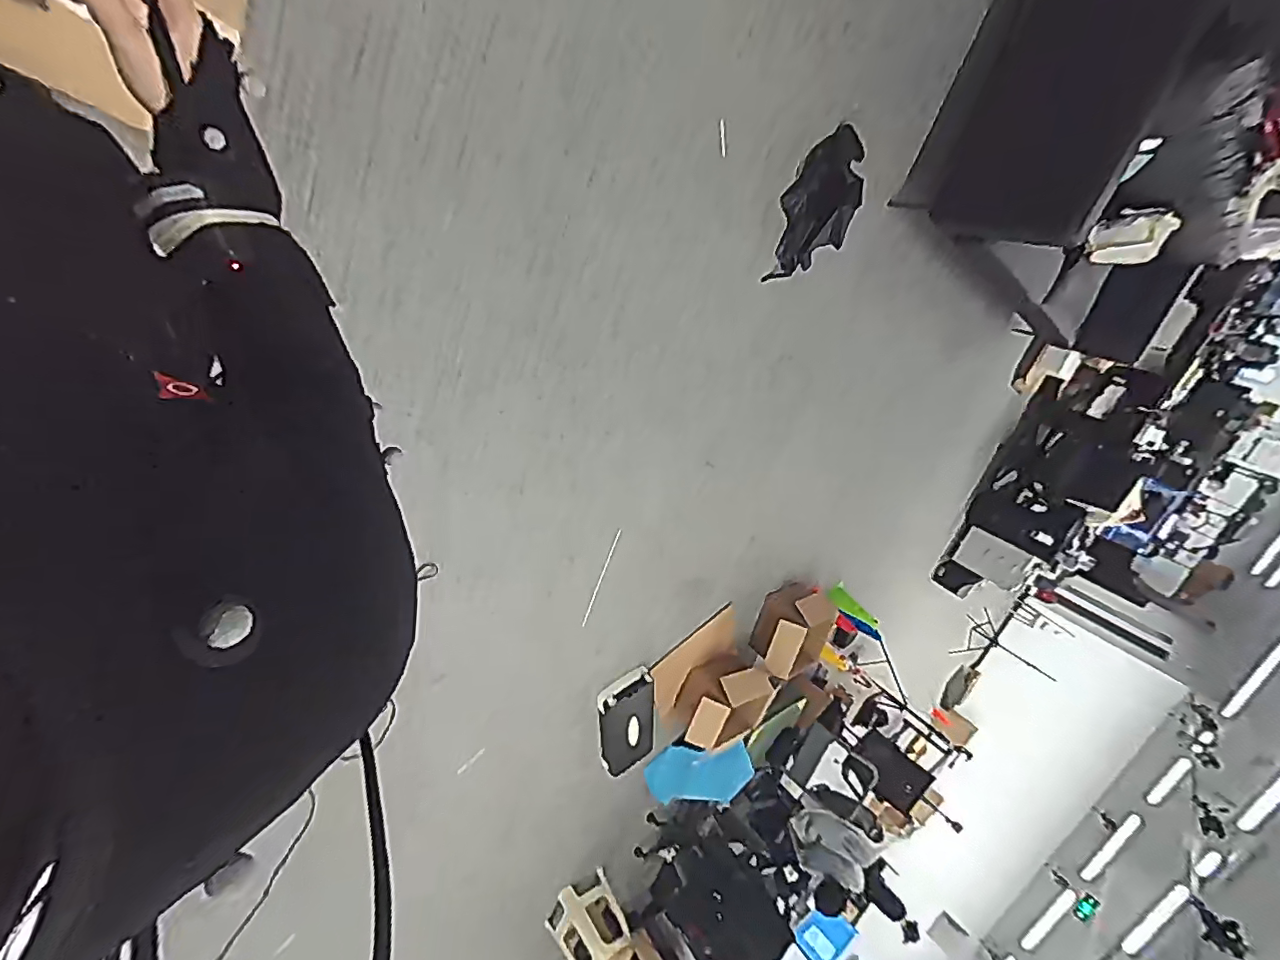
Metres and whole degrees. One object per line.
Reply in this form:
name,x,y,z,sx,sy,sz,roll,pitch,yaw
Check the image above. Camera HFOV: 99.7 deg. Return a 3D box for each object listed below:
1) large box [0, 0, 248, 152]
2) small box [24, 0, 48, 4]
large box,-0.754,-0.673,0.657,0.408,0.320,0.320,12,110,-48
small box,-0.527,-0.487,0.380,0.168,0.176,0.179,8,110,-48
